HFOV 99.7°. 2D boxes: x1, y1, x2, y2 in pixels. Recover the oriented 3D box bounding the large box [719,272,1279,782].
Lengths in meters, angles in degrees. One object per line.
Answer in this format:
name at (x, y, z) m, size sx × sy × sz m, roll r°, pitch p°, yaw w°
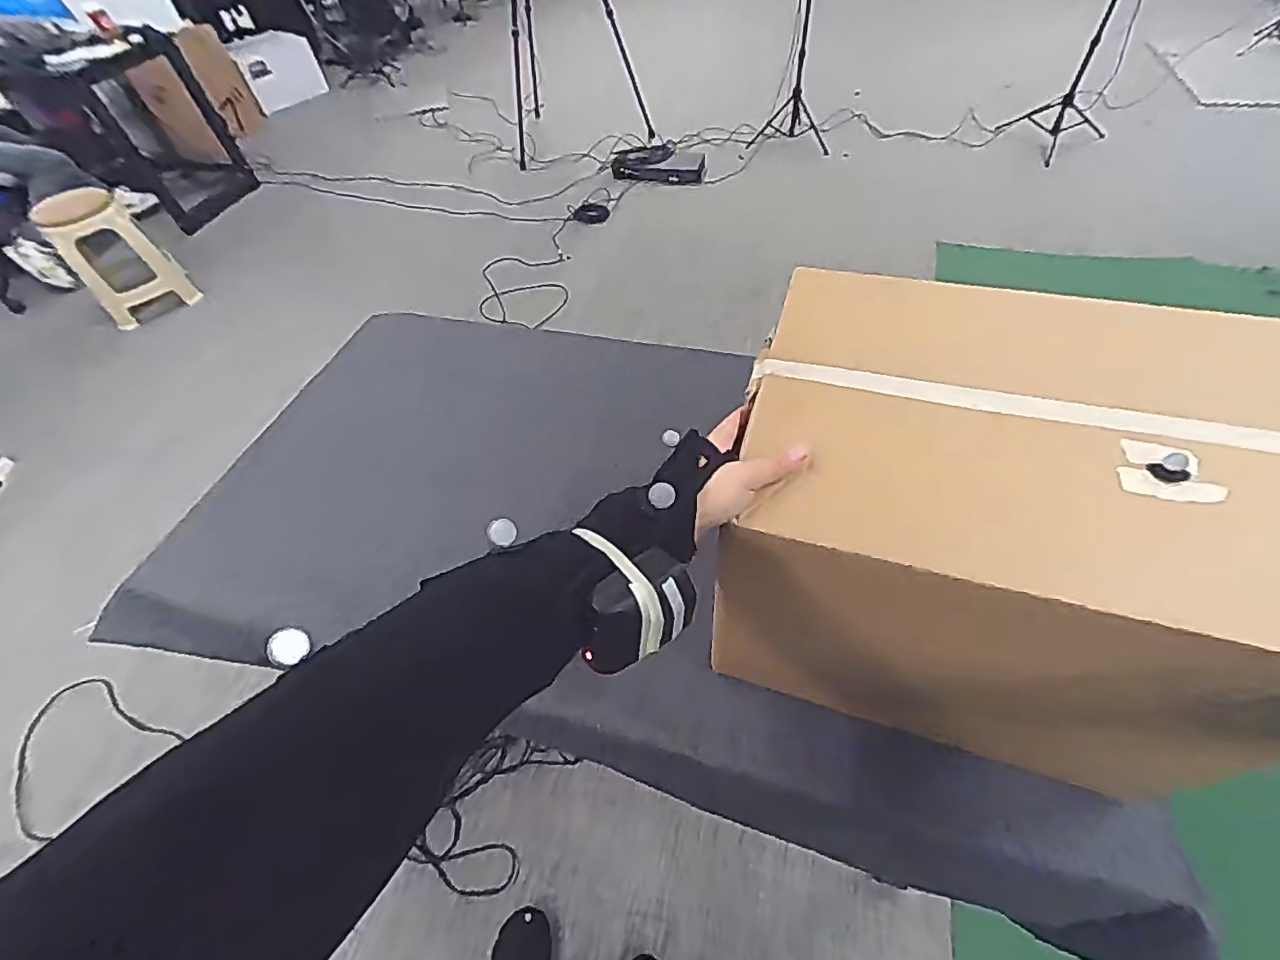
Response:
large box at (0.309, 0.040, 0.520) m, size 0.408 × 0.320 × 0.320 m, roll 13°, pitch 56°, yaw 14°
